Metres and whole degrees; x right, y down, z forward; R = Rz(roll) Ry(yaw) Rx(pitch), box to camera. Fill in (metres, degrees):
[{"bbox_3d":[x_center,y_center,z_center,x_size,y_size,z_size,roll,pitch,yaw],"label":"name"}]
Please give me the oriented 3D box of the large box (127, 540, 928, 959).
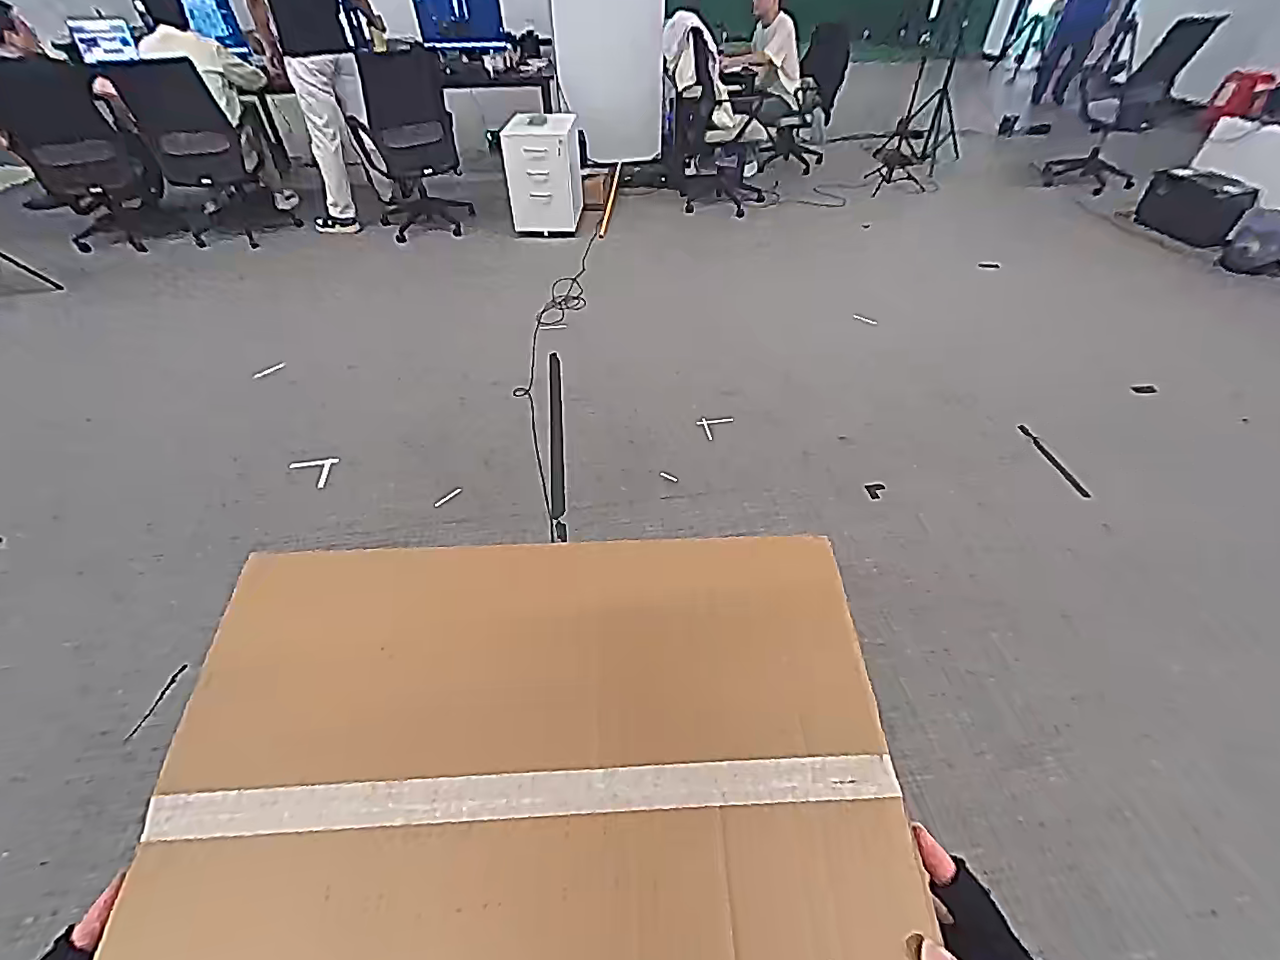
[{"bbox_3d":[-0.061,0.263,0.432,0.408,0.320,0.320,-2,57,-2],"label":"large box"}]
